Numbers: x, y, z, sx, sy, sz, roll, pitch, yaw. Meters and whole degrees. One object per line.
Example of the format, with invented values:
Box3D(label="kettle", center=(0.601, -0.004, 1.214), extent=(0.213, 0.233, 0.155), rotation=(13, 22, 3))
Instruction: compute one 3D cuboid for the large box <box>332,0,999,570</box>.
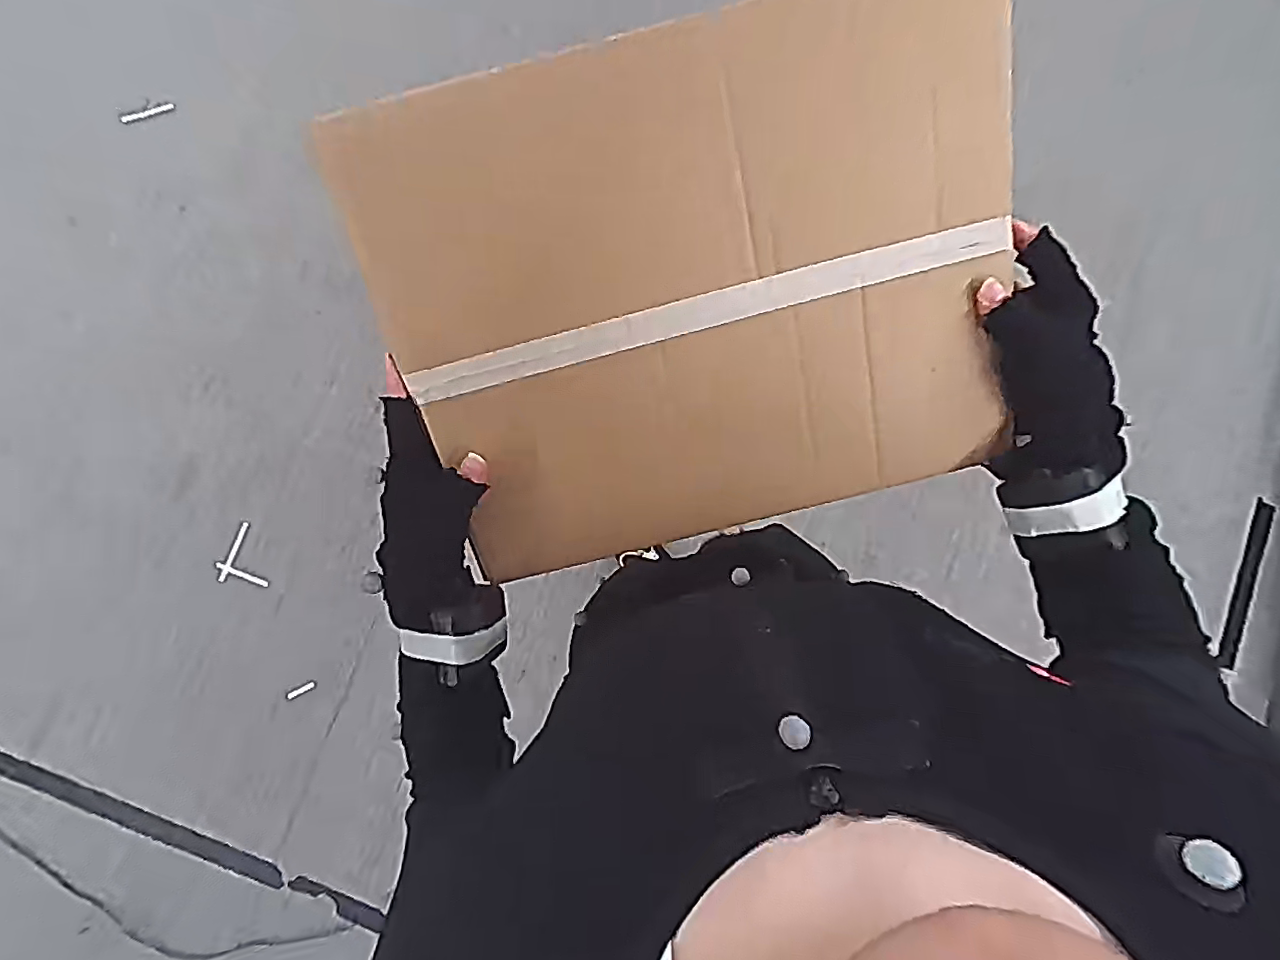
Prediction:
Box3D(label="large box", center=(0.032, -0.165, 0.503), extent=(0.408, 0.320, 0.320), rotation=(-14, 112, 1))
